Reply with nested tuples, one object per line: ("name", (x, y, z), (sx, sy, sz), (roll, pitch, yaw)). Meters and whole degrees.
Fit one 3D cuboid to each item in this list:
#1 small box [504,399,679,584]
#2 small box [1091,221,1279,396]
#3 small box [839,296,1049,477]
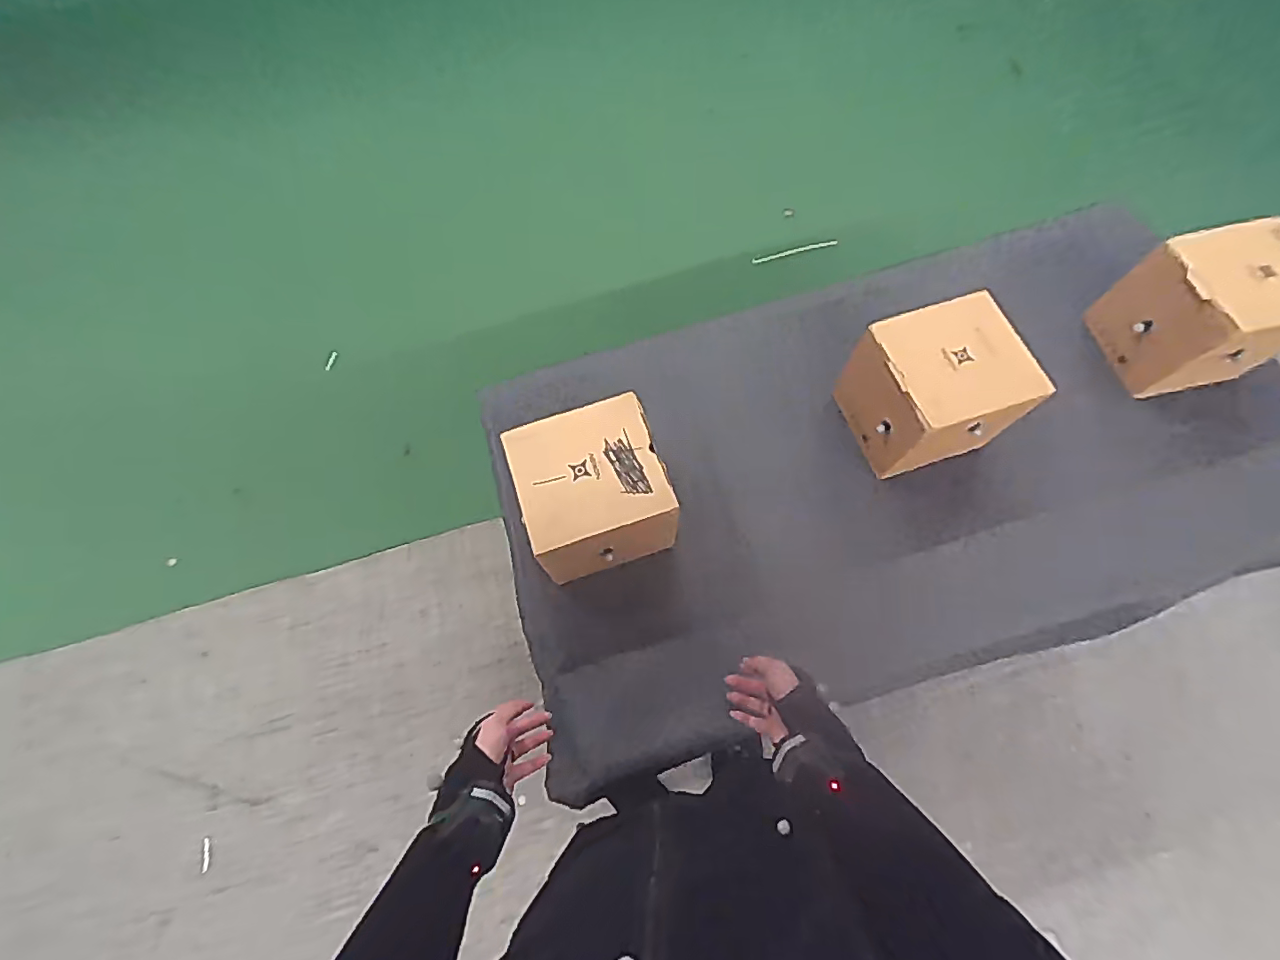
("small box", (-0.060, 0.023, 0.715), (0.179, 0.176, 0.168), (-18, 69, -5))
("small box", (0.824, -0.242, 0.797), (0.179, 0.176, 0.168), (-12, 69, -2))
("small box", (0.405, -0.122, 0.765), (0.179, 0.176, 0.168), (-17, 70, -7))
